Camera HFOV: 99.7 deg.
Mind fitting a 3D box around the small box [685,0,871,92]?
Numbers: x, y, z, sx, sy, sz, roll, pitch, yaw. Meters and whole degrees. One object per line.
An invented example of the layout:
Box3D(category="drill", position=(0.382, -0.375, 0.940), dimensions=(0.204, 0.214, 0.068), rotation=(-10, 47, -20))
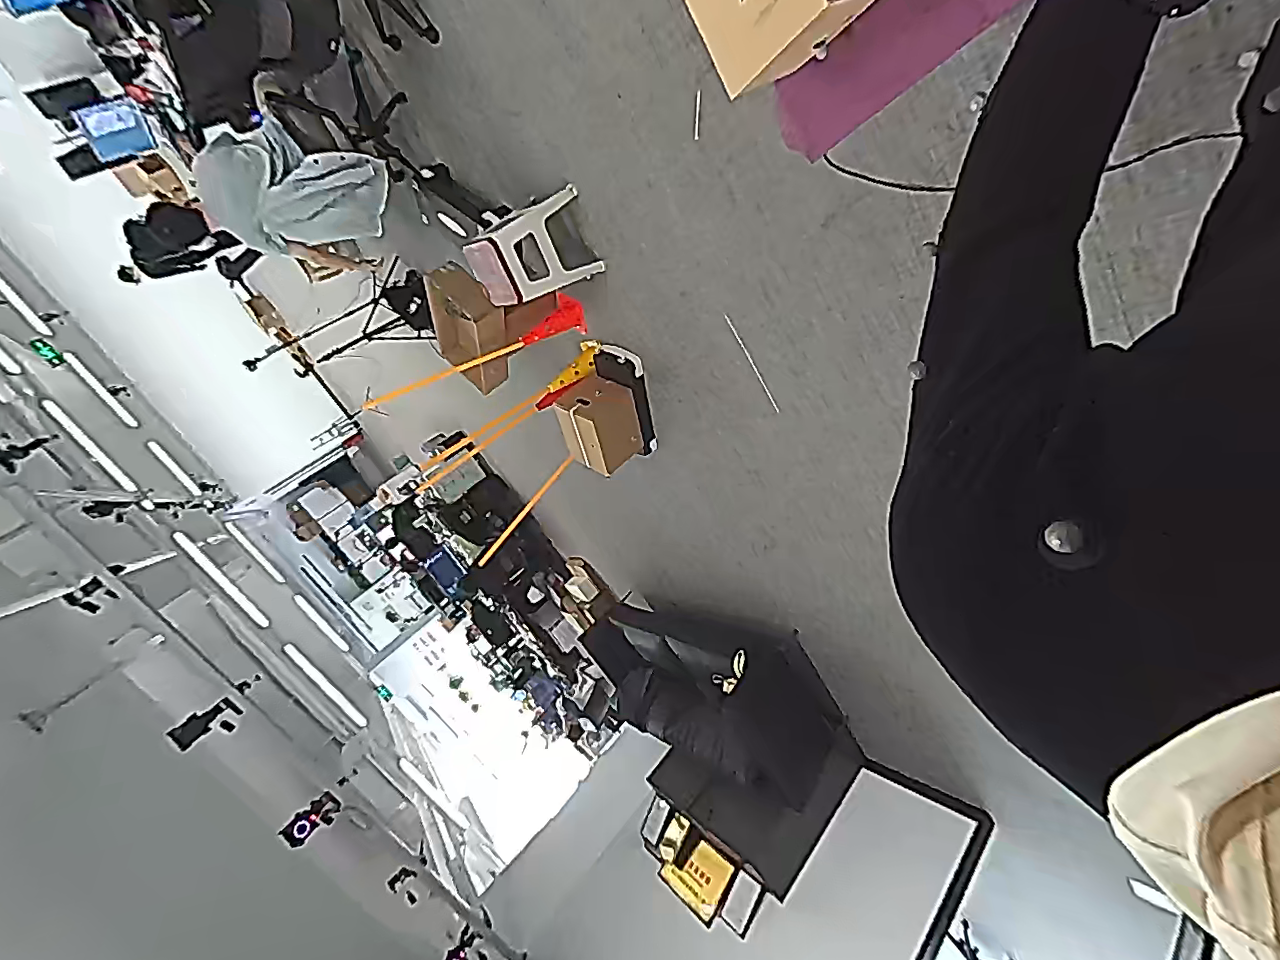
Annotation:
Box3D(category="small box", position=(0.174, -0.639, 0.672), dimensions=(0.179, 0.176, 0.168), rotation=(57, 153, -16))
